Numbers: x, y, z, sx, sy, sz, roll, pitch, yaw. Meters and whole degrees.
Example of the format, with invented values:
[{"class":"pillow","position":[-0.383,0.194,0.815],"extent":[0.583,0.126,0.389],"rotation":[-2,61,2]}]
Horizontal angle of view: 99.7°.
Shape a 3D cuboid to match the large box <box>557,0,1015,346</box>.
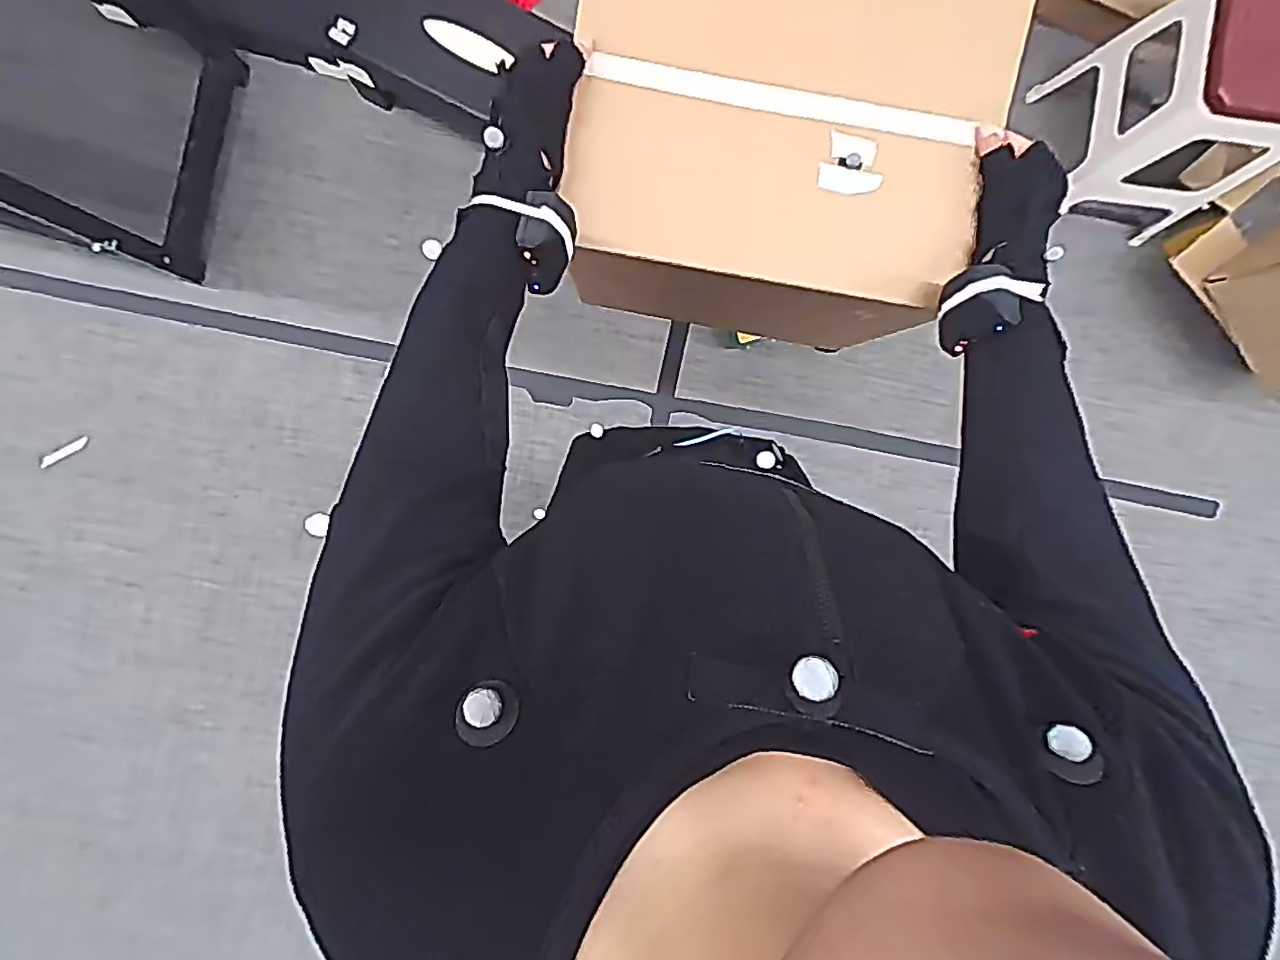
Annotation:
[{"class":"large box","position":[0.131,-0.366,0.661],"extent":[0.408,0.320,0.320],"rotation":[9,97,-3]}]
